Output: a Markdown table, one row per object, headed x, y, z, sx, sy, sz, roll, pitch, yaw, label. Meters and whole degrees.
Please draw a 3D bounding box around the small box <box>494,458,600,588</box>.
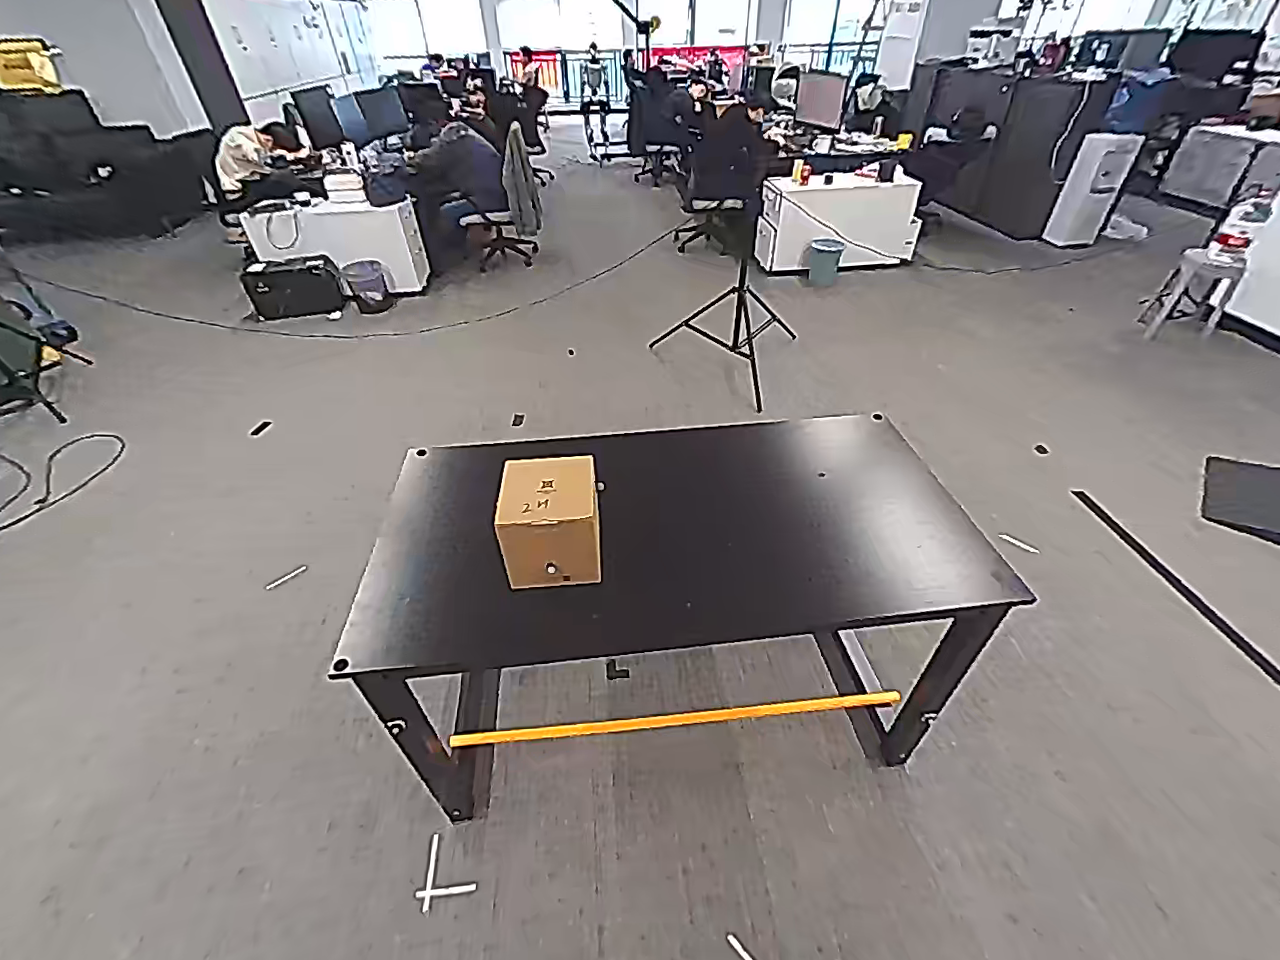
| x | y | z | sx | sy | sz | roll | pitch | yaw | label |
| --- | --- | --- | --- | --- | --- | --- | --- | --- | --- |
| -0.165 | 0.079 | 1.014 | 0.168 | 0.176 | 0.179 | -4 | 40 | -2 | small box |
